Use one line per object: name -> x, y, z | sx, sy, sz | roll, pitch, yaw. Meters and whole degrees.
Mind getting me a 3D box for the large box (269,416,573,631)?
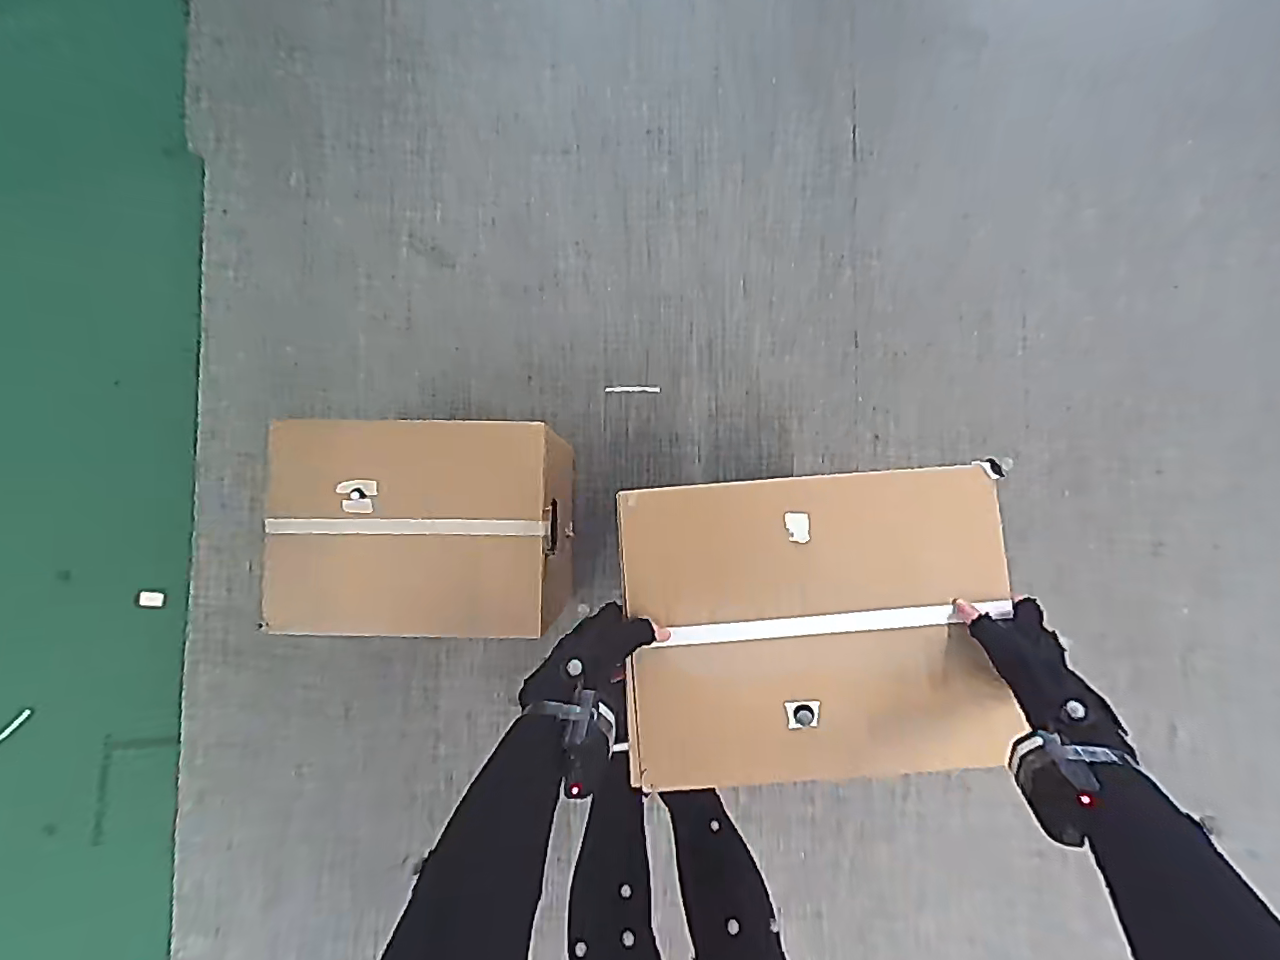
large box -> -0.334, 0.065, 0.933 | 0.408, 0.320, 0.320 | 1, 87, 1
